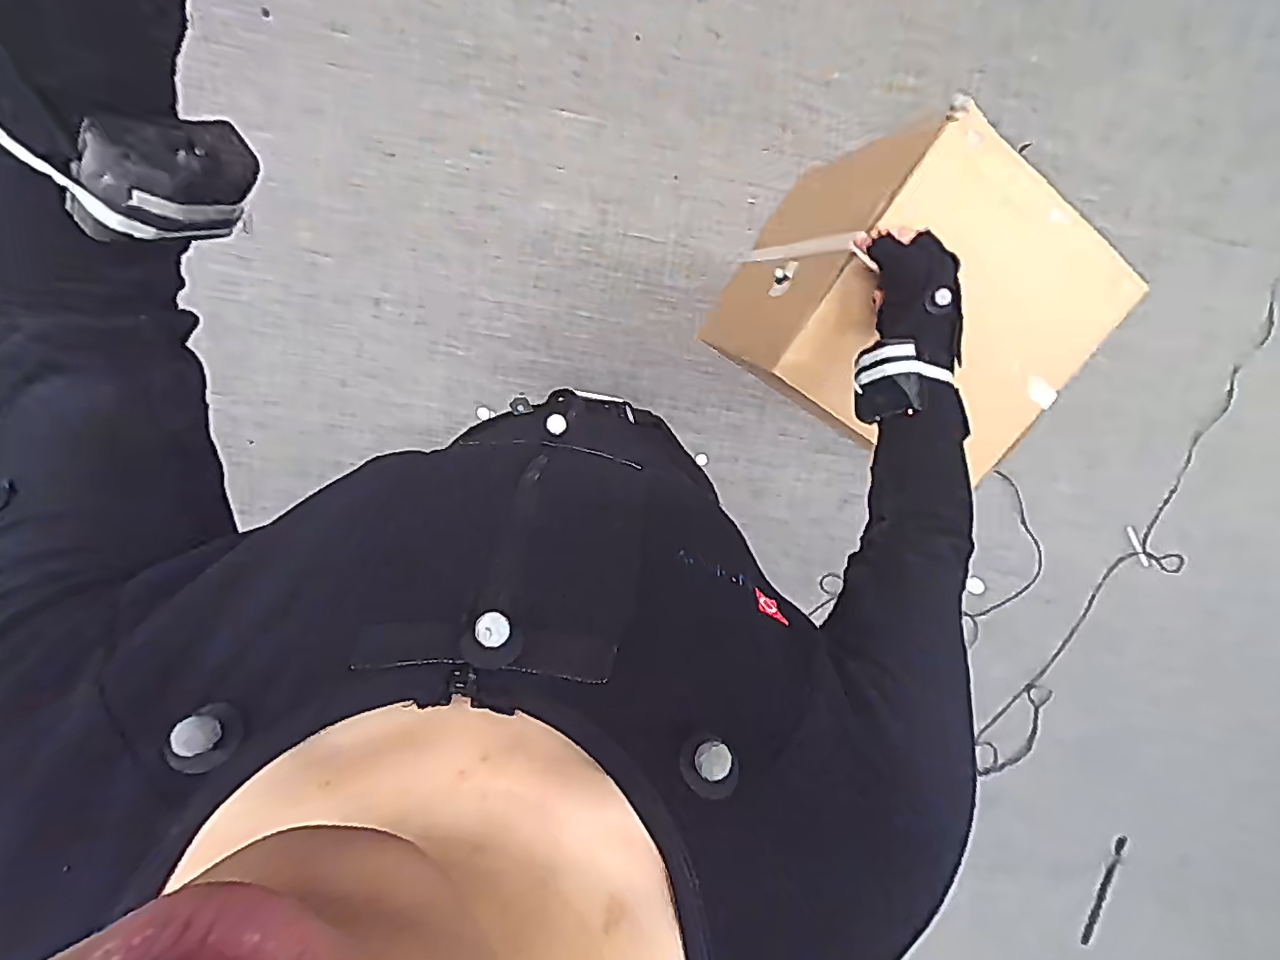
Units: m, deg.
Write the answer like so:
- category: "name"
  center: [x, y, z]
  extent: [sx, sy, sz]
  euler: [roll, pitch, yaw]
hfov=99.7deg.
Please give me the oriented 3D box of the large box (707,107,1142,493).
- category: "large box"
  center: [0.348, -0.239, 0.787]
  extent: [0.320, 0.408, 0.320]
  euler: [30, 105, -16]
